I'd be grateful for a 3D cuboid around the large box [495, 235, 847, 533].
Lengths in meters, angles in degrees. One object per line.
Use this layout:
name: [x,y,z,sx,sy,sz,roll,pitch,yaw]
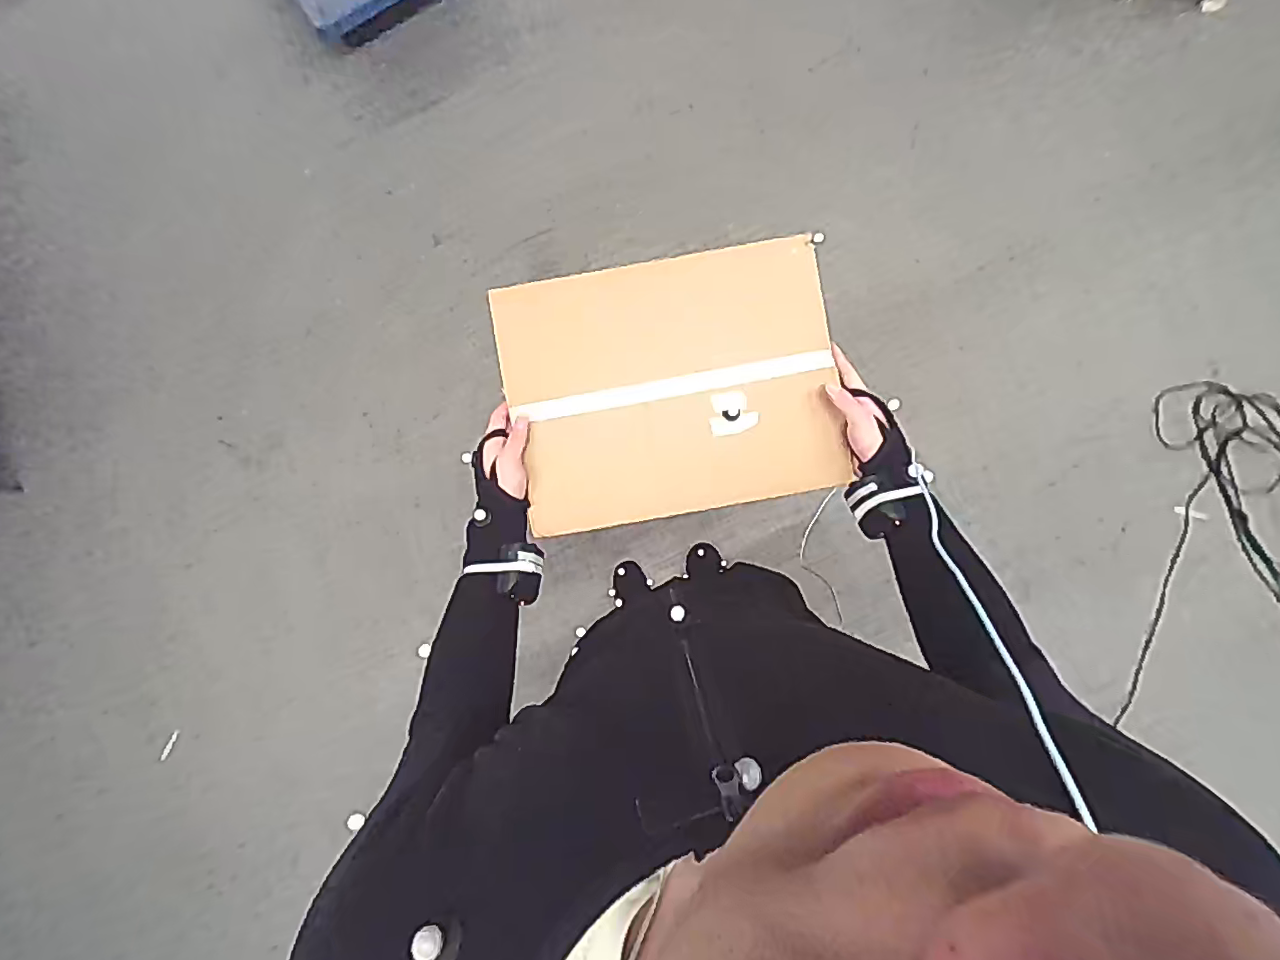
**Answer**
large box: [0.038,-0.120,0.823,0.408,0.320,0.320,-10,91,0]
